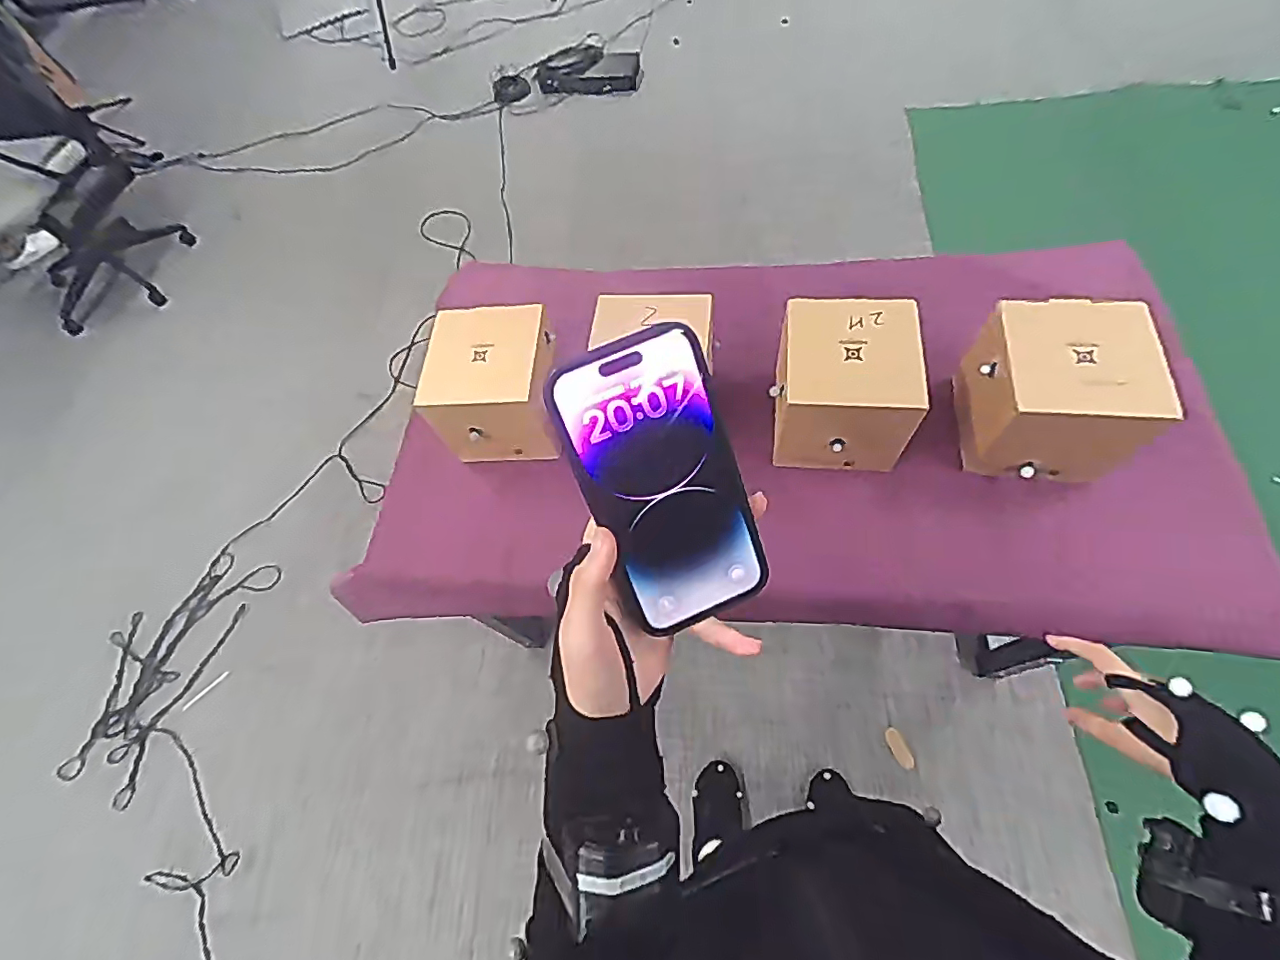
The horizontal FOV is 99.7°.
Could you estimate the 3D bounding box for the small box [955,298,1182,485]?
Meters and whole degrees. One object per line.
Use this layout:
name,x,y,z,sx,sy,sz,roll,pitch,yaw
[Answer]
small box,0.537,-0.114,0.712,0.168,0.176,0.179,5,64,12

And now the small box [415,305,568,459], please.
small box,-0.214,-0.141,0.834,0.168,0.176,0.179,-2,62,7

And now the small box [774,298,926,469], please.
small box,0.280,-0.128,0.756,0.168,0.176,0.179,4,63,10
